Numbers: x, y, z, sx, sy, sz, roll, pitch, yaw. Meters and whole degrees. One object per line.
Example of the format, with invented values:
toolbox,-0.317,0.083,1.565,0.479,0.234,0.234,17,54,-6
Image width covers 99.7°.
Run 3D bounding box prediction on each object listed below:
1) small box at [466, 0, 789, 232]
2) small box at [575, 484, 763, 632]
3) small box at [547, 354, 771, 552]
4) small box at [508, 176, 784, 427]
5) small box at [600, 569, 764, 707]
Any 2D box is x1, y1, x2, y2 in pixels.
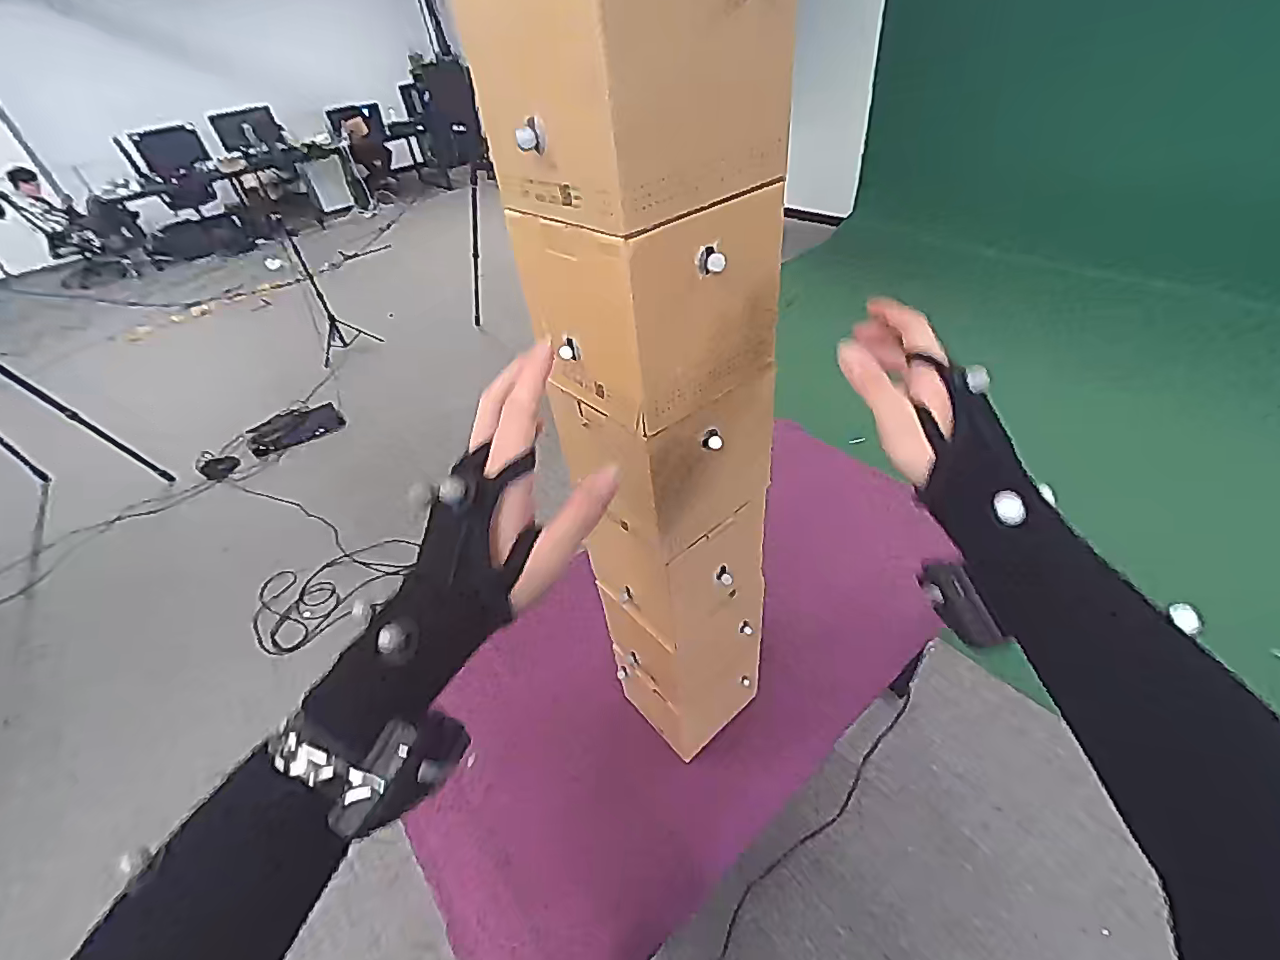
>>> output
small box,-0.008,-0.303,0.398,0.179,0.176,0.168,-33,46,-26
small box,0.041,0.071,0.711,0.168,0.176,0.179,-33,46,-27
small box,0.027,-0.051,0.604,0.179,0.176,0.168,-32,46,-27
small box,0.009,-0.177,0.503,0.179,0.176,0.168,-33,46,-26
small box,0.064,0.197,0.813,0.179,0.176,0.168,-32,46,-25
